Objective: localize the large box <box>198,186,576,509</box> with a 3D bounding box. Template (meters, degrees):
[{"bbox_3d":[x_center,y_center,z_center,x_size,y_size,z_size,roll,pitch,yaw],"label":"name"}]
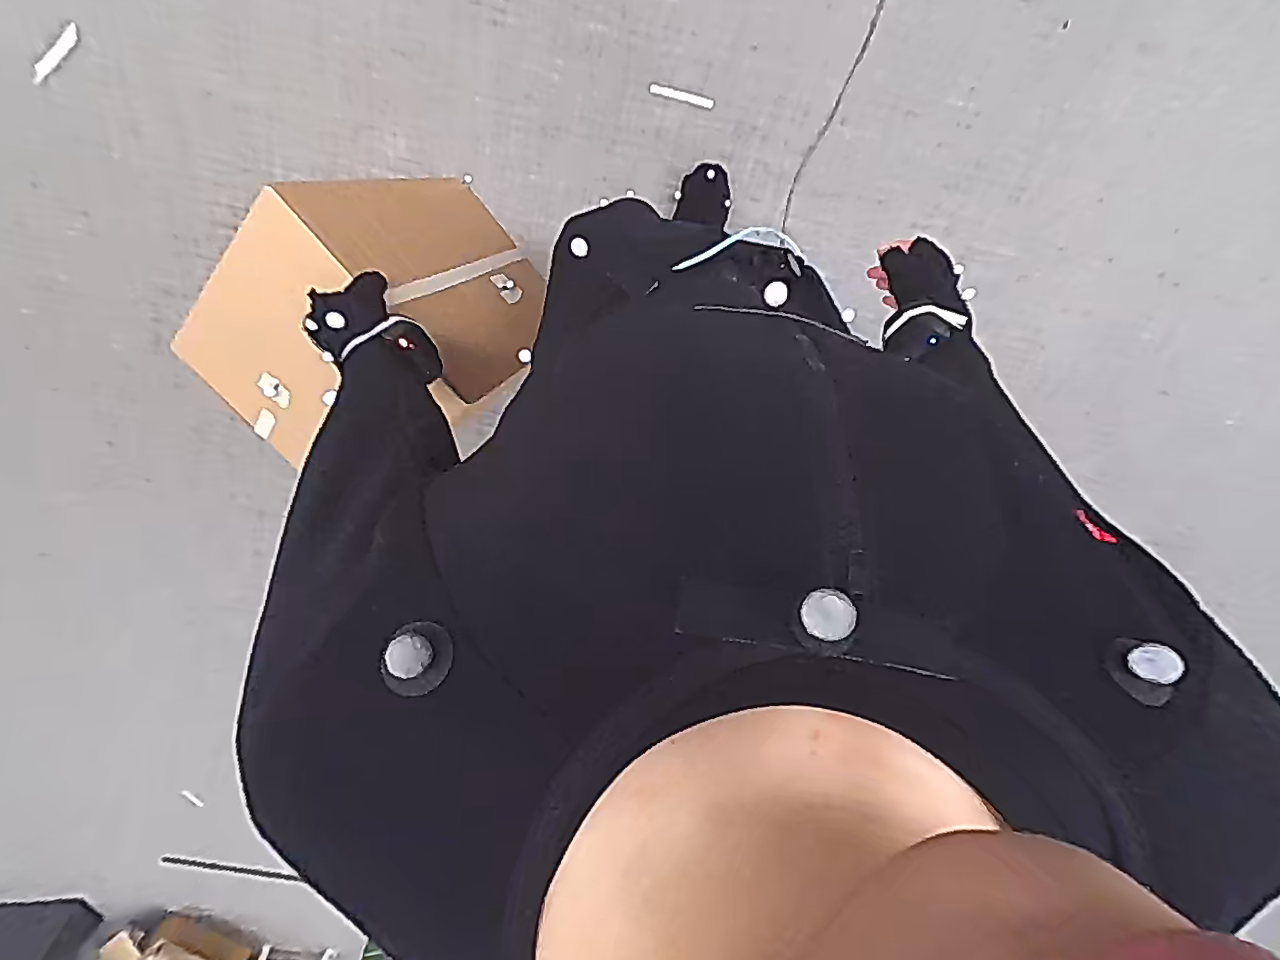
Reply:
[{"bbox_3d":[-0.367,-0.226,0.876,0.320,0.408,0.320,-30,108,28],"label":"large box"}]
